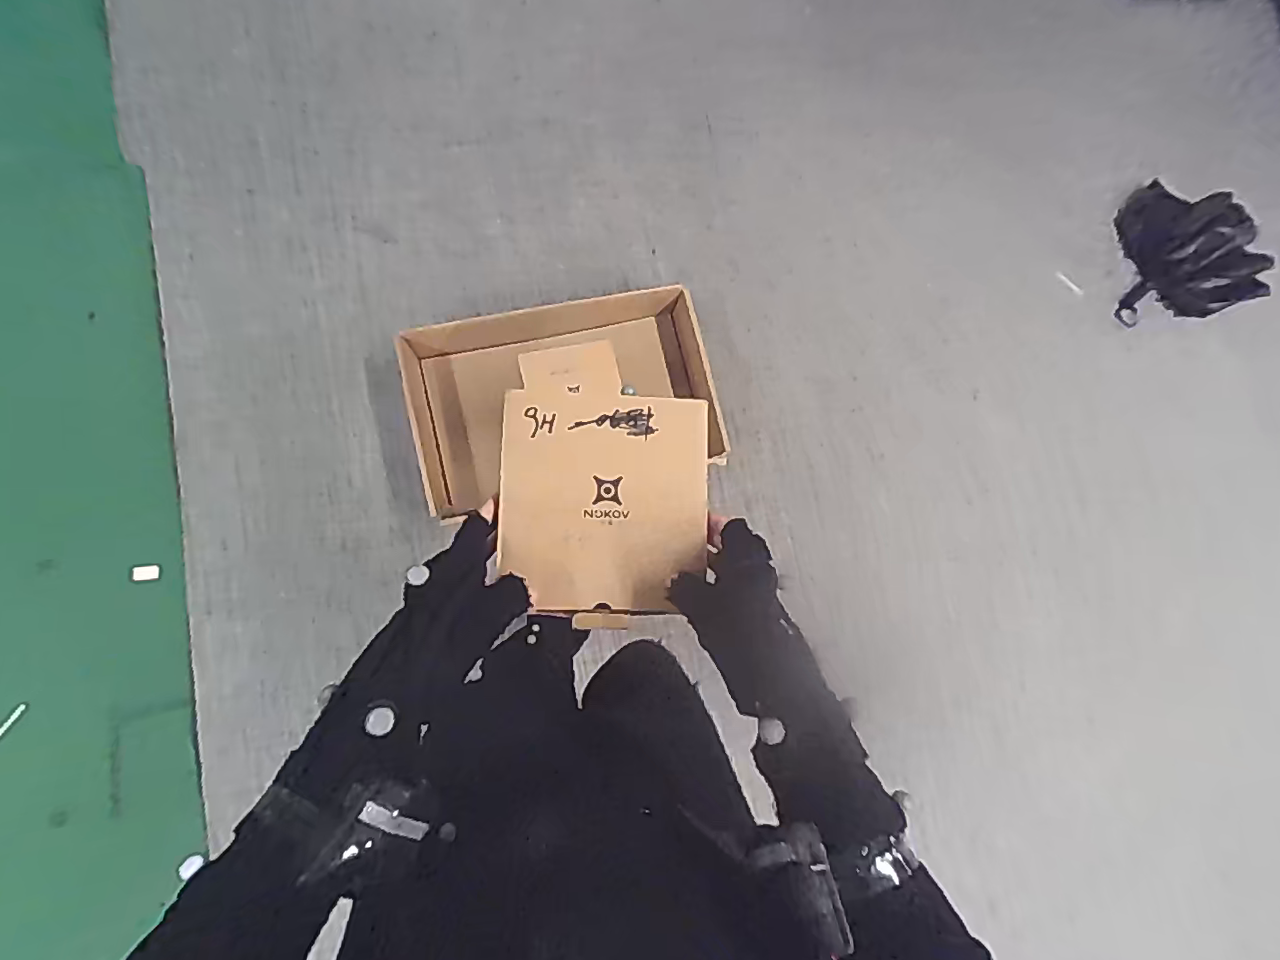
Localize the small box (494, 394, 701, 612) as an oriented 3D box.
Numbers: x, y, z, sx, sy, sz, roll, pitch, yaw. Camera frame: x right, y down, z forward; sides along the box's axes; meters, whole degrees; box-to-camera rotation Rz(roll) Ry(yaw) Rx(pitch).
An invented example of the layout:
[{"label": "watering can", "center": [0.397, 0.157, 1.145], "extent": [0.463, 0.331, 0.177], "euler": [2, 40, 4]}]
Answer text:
[{"label": "small box", "center": [-0.041, 0.025, 0.519], "extent": [0.168, 0.176, 0.179], "euler": [2, 85, -7]}]

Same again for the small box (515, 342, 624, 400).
[{"label": "small box", "center": [-0.119, -0.125, 0.988], "extent": [0.168, 0.176, 0.179], "euler": [-17, 86, -10]}]
